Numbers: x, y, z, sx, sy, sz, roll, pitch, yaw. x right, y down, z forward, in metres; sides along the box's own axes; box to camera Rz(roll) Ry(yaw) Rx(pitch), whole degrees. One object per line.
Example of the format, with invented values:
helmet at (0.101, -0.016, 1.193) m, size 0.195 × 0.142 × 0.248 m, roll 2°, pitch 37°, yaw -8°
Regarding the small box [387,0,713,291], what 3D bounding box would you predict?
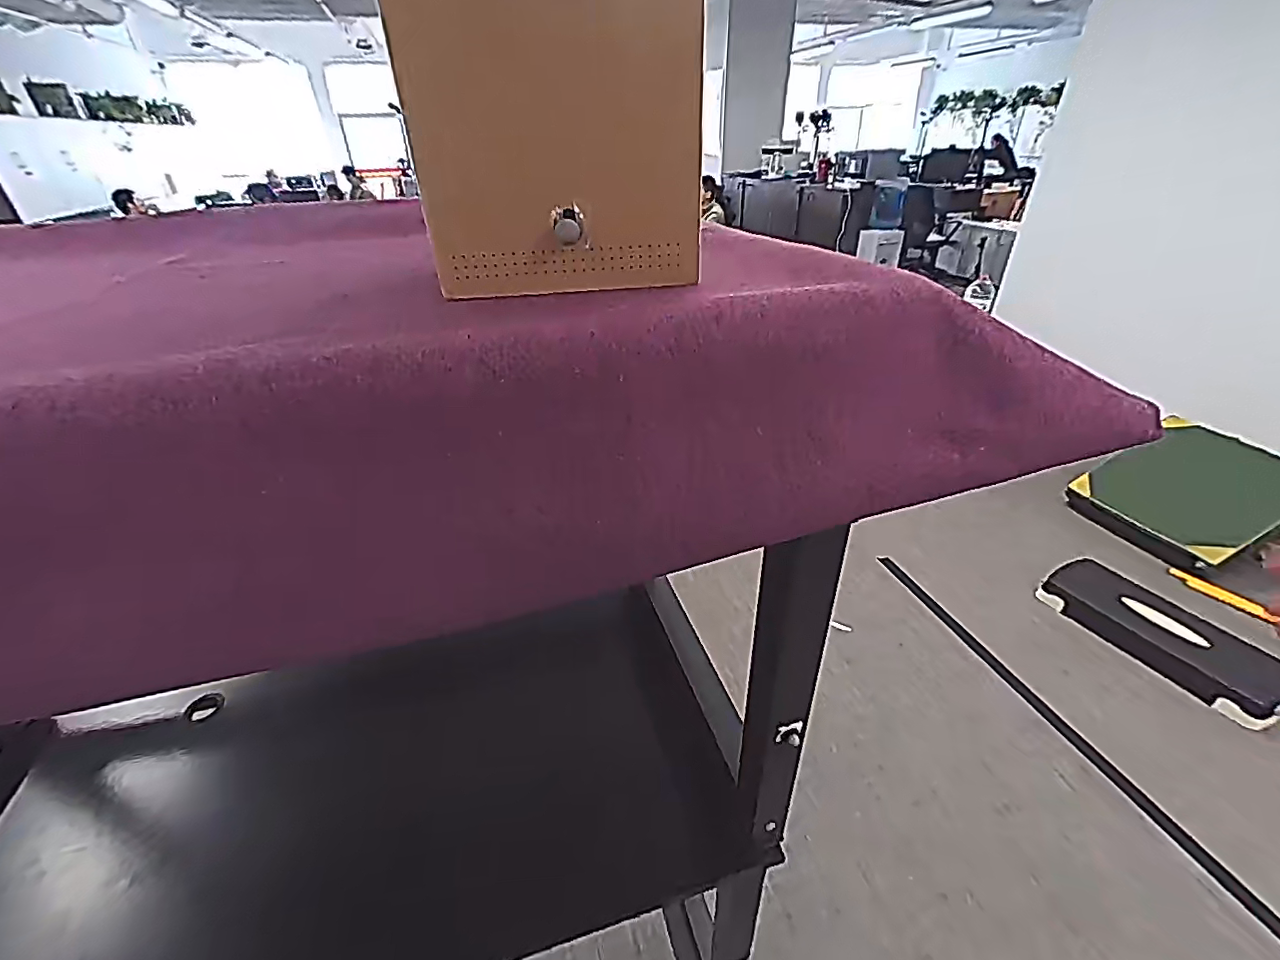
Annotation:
small box at (-0.053, -0.241, 0.388) m, size 0.179 × 0.176 × 0.168 m, roll -5°, pitch 32°, yaw -5°
